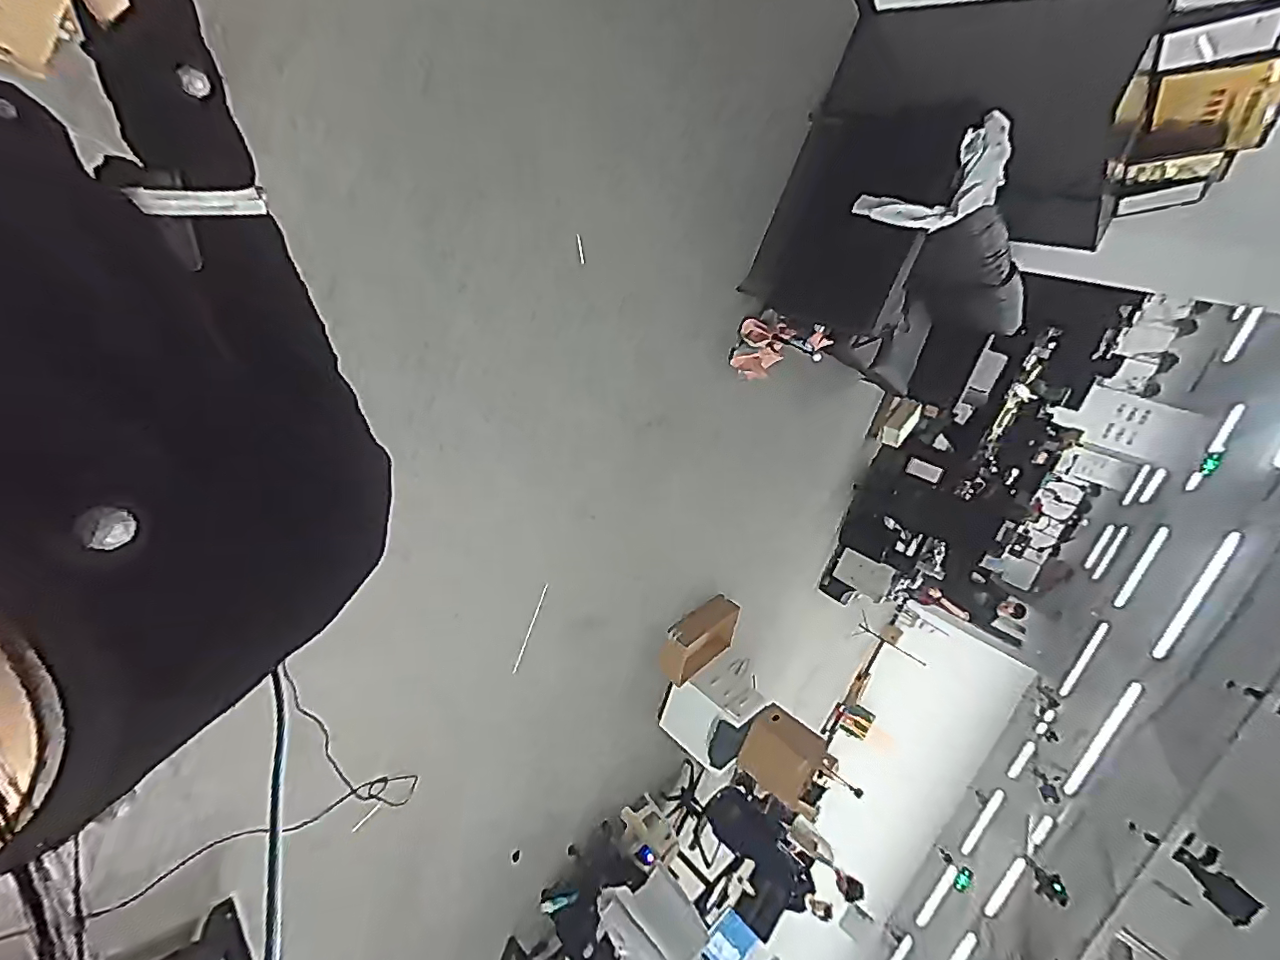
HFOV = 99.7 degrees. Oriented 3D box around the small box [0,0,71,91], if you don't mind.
[{"bbox_3d":[-0.973,-0.715,0.795,0.168,0.176,0.179,7,109,-53],"label":"small box"}]
